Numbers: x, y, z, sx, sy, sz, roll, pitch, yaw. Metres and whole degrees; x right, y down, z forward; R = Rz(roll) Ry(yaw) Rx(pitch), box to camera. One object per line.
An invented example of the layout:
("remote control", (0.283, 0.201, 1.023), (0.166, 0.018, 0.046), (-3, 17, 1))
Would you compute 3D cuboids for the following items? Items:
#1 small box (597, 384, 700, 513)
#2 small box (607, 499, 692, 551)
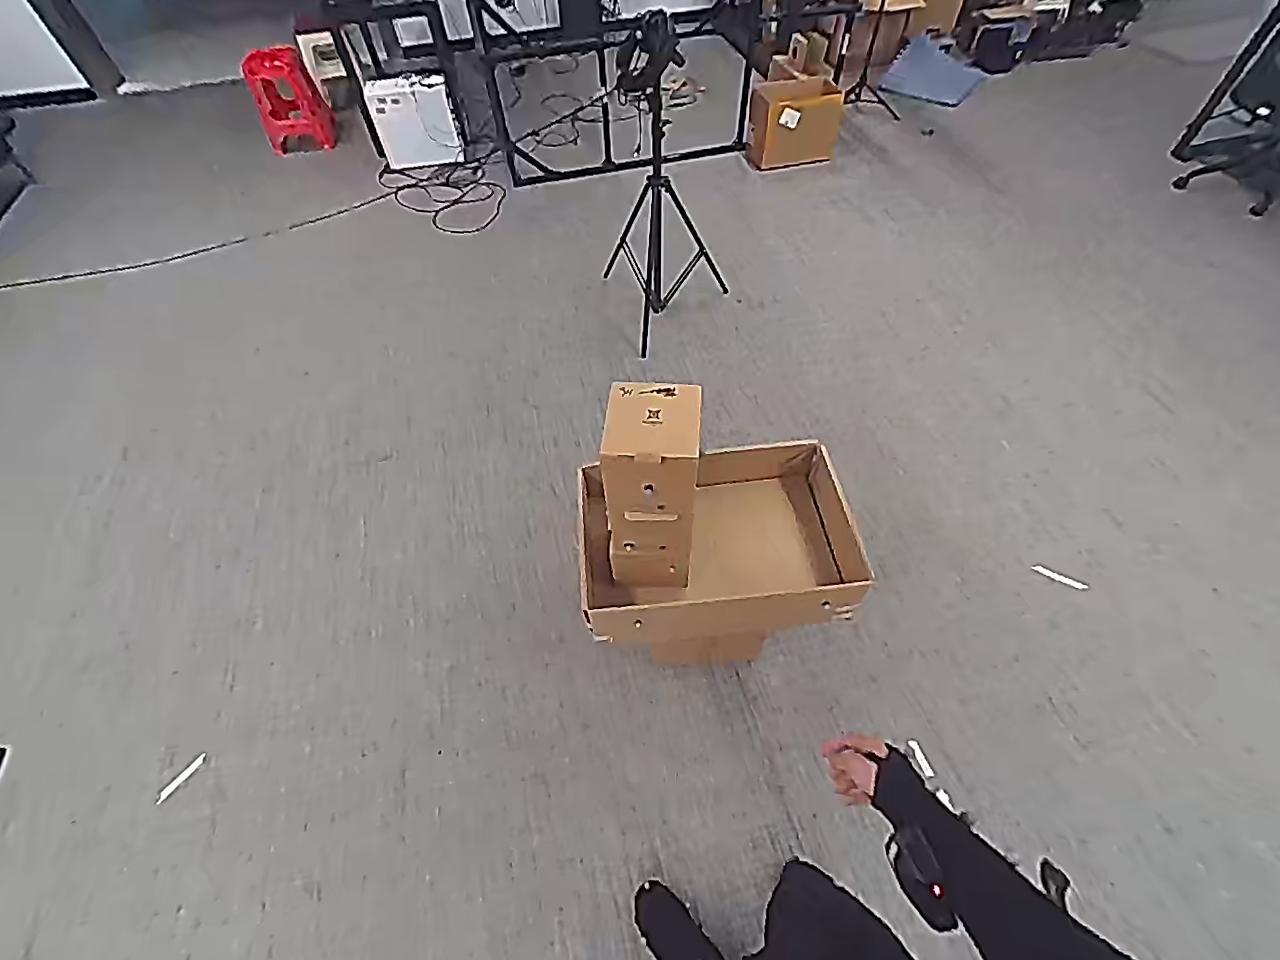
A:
("small box", (0.022, -0.055, 0.997), (0.168, 0.176, 0.179), (3, 55, 5))
("small box", (0.025, 0.038, 1.133), (0.168, 0.176, 0.179), (0, 53, 3))
